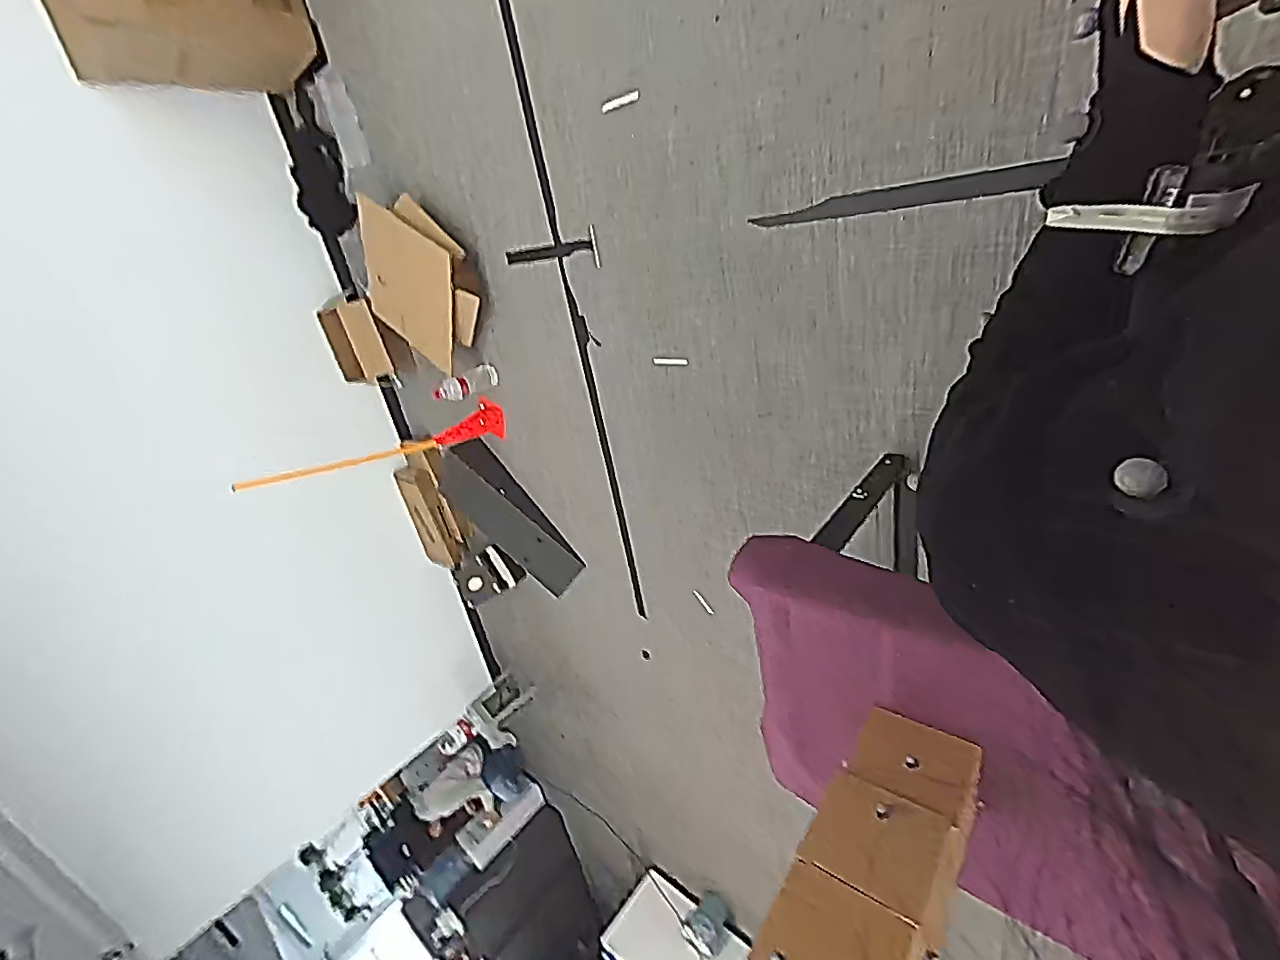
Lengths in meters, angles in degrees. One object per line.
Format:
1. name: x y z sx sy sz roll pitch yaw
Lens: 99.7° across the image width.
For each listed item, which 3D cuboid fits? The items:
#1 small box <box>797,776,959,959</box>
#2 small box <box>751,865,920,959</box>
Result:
1. small box: 0.367 0.597 0.827 0.179 0.176 0.168 6 120 43
2. small box: 0.265 0.674 0.725 0.179 0.176 0.168 6 120 42
